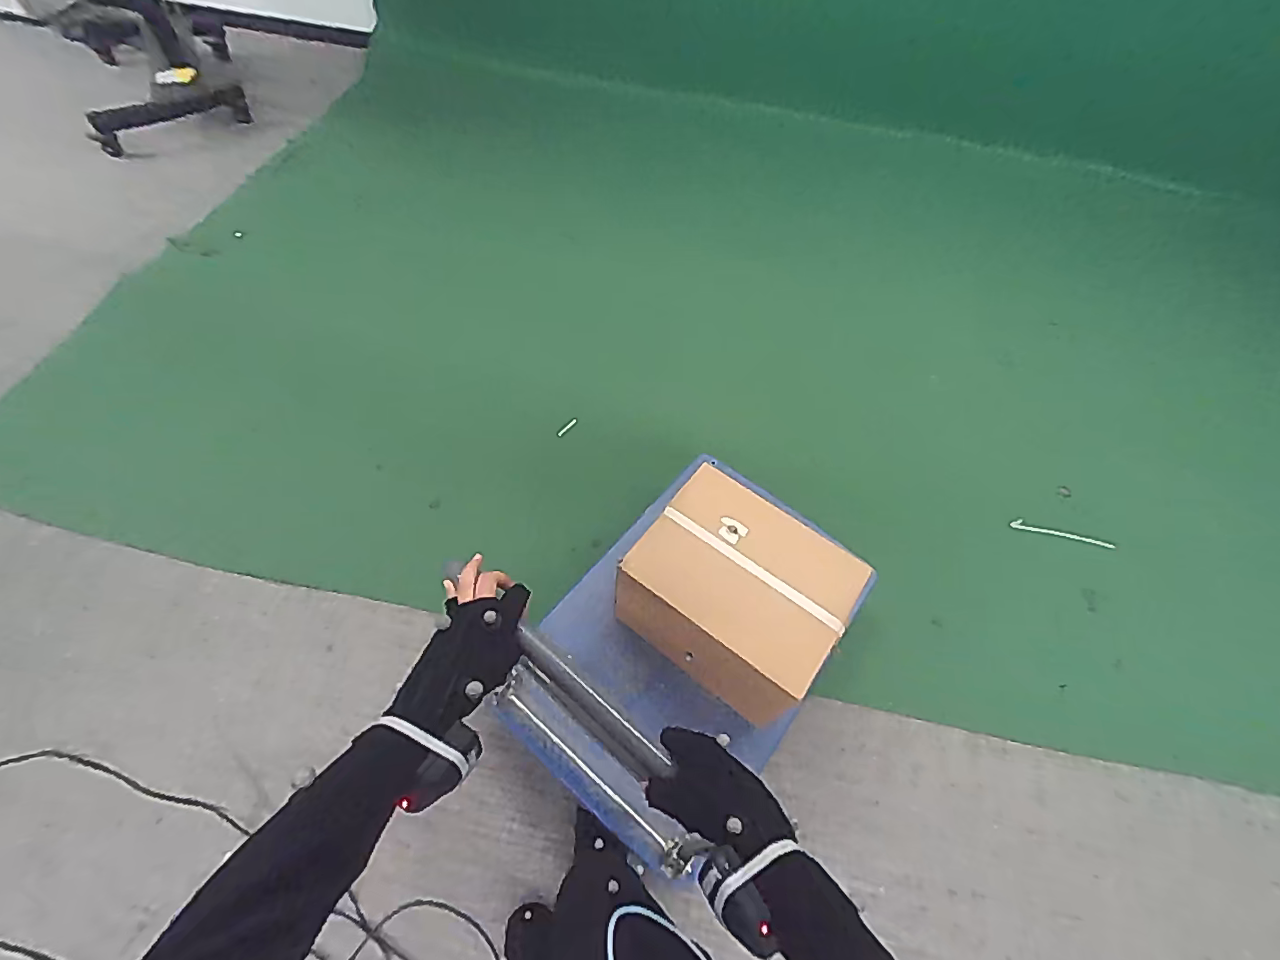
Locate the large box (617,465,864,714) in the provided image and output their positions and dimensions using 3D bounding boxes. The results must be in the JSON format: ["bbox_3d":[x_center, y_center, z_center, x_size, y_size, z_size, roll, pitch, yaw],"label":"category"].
[{"bbox_3d":[0.198,0.246,1.195,0.408,0.320,0.320,33,61,16],"label":"large box"}]
